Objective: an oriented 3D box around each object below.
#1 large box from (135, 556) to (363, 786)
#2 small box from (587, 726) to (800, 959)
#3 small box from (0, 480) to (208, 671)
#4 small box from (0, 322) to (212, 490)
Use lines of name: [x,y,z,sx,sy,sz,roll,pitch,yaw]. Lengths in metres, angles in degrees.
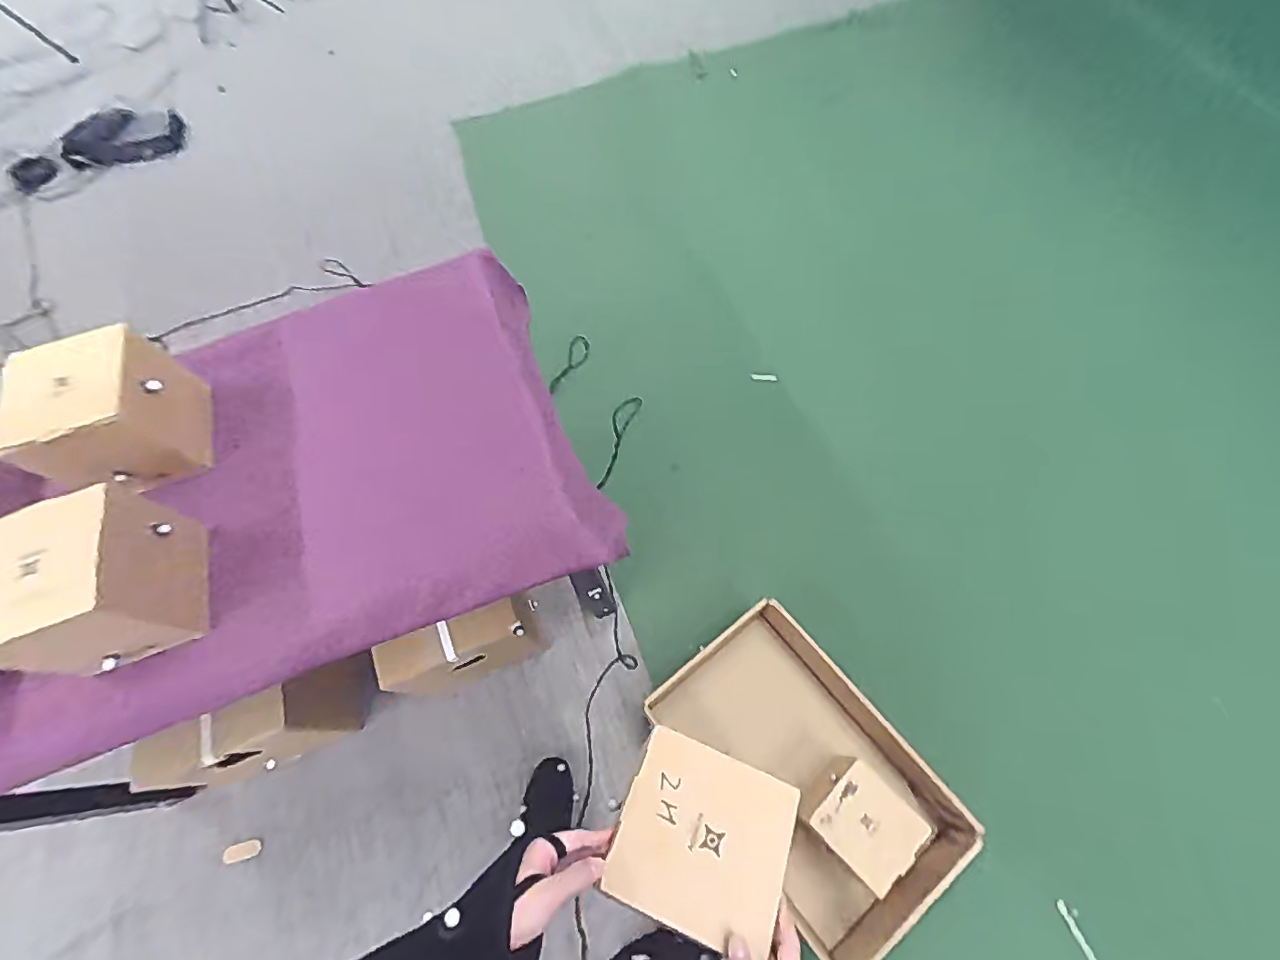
large box: [-0.921,0.457,1.302,0.320,0.320,0.408,-21,64,-6]
small box: [0.053,0.408,0.608,0.179,0.176,0.168,22,54,9]
small box: [-0.710,0.132,0.708,0.168,0.176,0.179,-20,65,-4]
small box: [-0.795,-0.103,0.824,0.168,0.176,0.179,-19,66,-5]
